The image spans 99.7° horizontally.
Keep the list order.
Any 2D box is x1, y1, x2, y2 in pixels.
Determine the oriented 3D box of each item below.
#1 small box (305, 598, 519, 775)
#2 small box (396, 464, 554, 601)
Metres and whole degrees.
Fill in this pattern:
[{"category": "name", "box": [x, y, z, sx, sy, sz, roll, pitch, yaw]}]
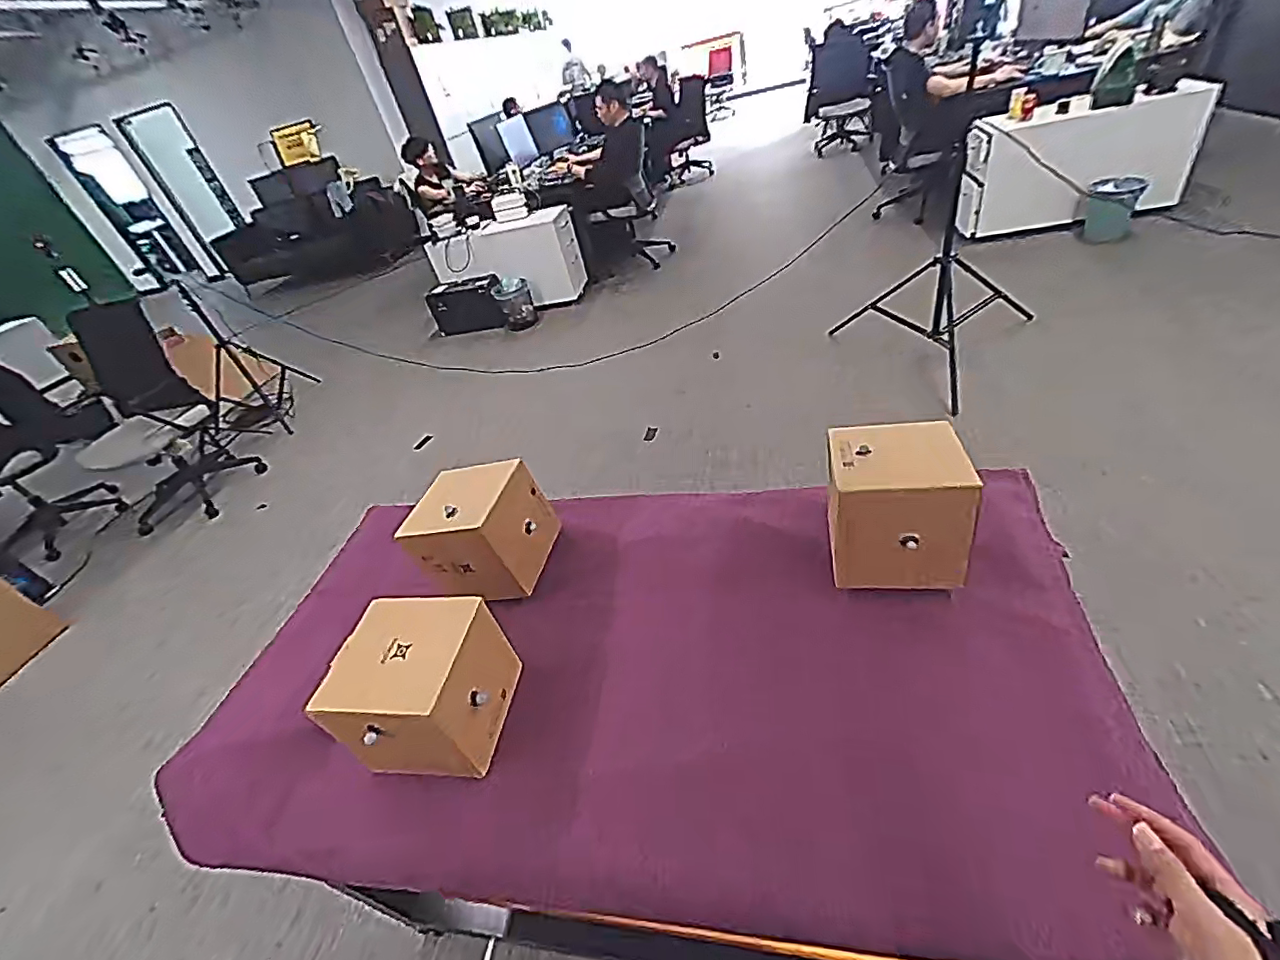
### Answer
[{"category": "small box", "box": [-0.284, 0.276, 0.725, 0.179, 0.176, 0.168, -5, 39, 14]}, {"category": "small box", "box": [-0.266, 0.088, 0.926, 0.179, 0.168, 0.176, -7, 37, 22]}]
